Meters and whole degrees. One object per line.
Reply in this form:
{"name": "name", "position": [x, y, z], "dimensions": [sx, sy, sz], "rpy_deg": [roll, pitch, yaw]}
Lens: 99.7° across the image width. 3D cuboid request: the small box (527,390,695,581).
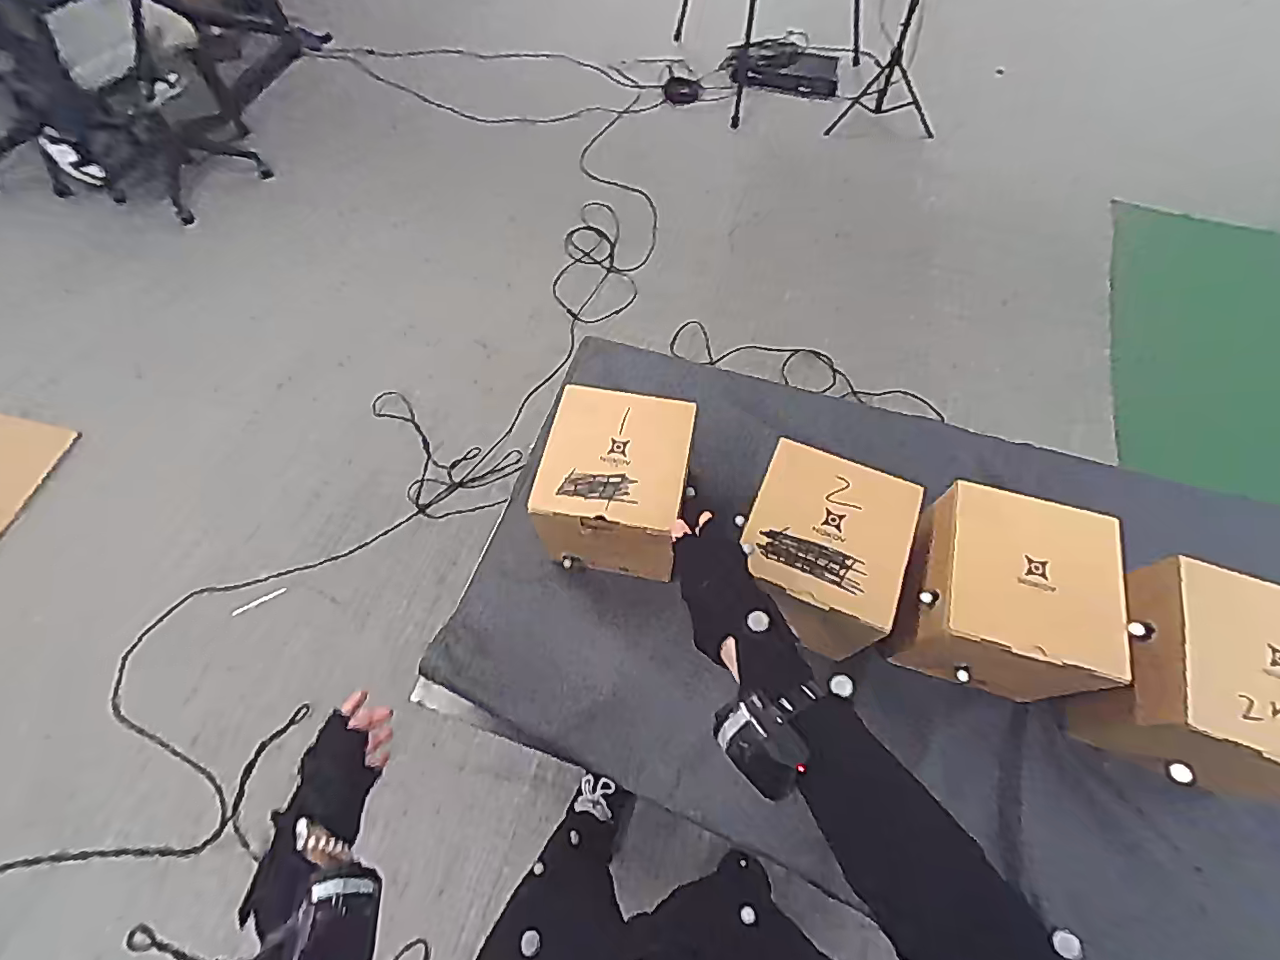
{"name": "small box", "position": [-0.027, 0.014, 0.687], "dimensions": [0.168, 0.176, 0.179], "rpy_deg": [9, 62, 6]}
